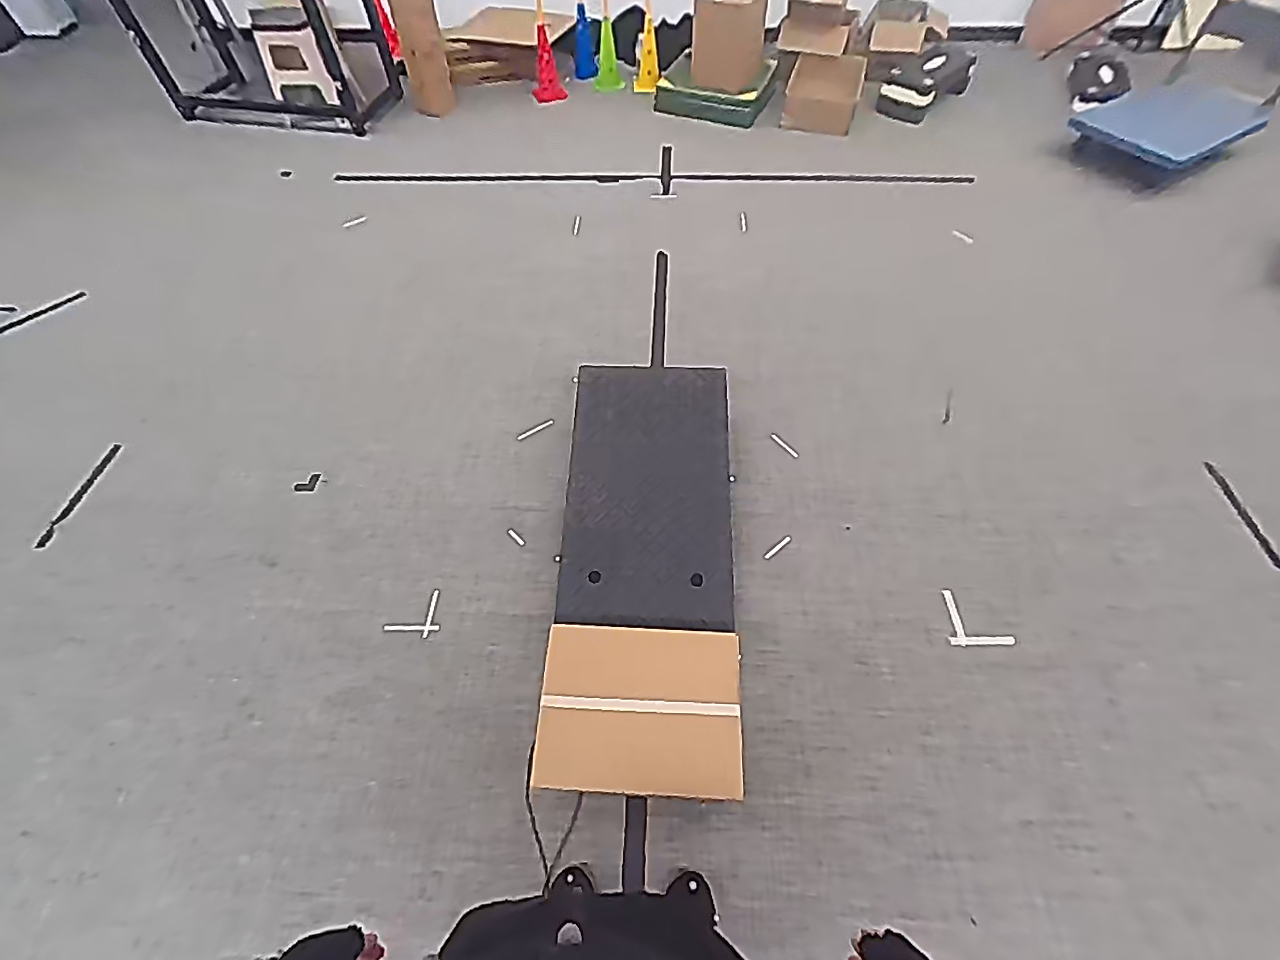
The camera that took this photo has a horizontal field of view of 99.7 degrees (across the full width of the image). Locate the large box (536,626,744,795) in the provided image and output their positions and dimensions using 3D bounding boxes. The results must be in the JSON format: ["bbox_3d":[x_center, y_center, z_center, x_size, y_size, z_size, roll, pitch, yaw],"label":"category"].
[{"bbox_3d":[0.009,0.528,1.229,0.408,0.320,0.320,2,59,2],"label":"large box"}]

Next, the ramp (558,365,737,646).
[{"bbox_3d":[0.032,0.079,1.611,0.509,0.206,0.991,1,56,0],"label":"ramp"}]
